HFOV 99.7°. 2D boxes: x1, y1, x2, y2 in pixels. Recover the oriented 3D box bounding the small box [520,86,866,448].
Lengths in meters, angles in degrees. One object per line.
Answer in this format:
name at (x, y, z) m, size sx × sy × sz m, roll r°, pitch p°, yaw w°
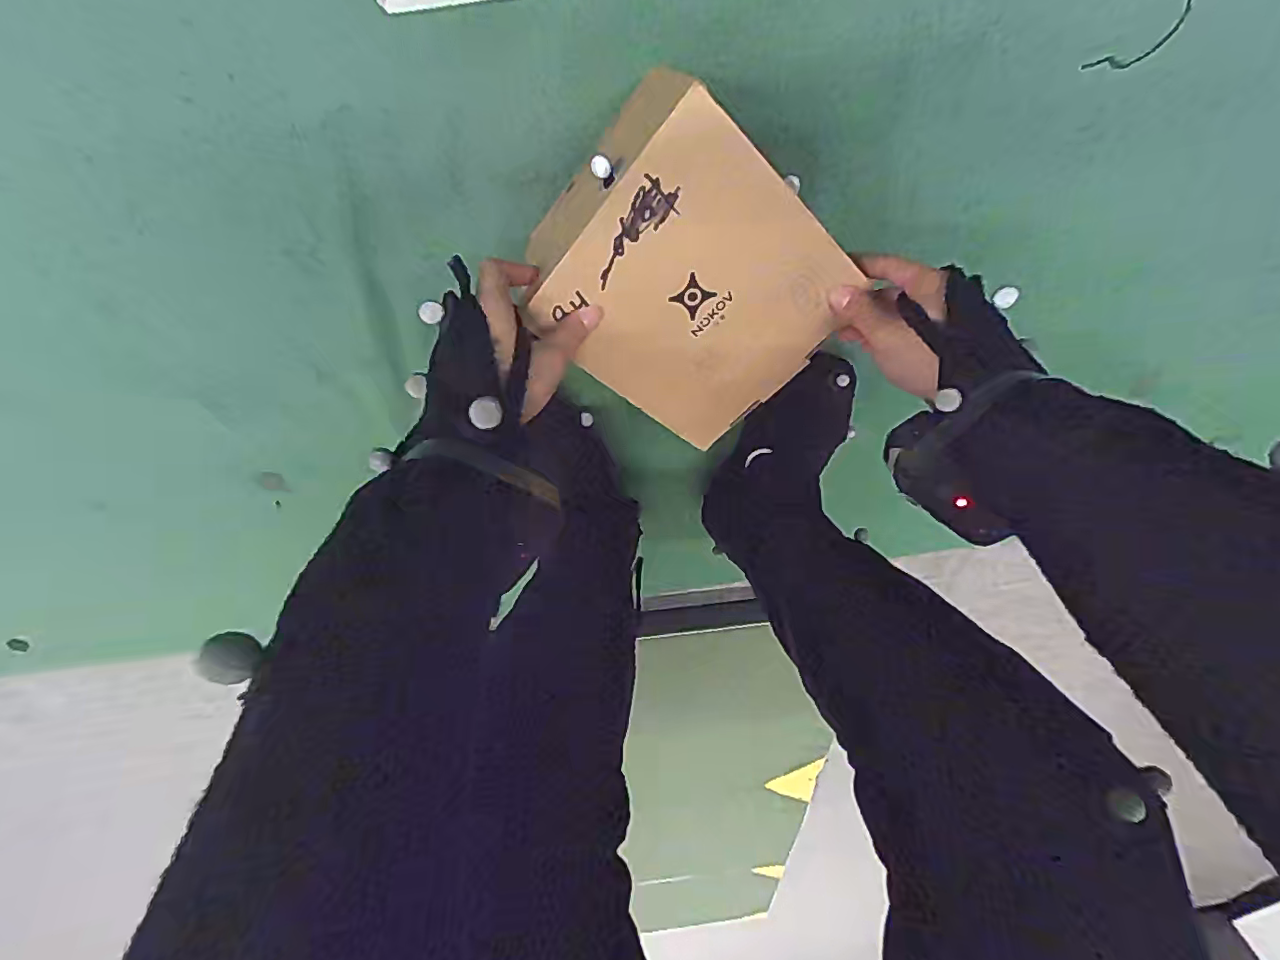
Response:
small box at (0.030, -0.164, 0.416) m, size 0.179 × 0.176 × 0.168 m, roll 32°, pitch 118°, yaw -30°
